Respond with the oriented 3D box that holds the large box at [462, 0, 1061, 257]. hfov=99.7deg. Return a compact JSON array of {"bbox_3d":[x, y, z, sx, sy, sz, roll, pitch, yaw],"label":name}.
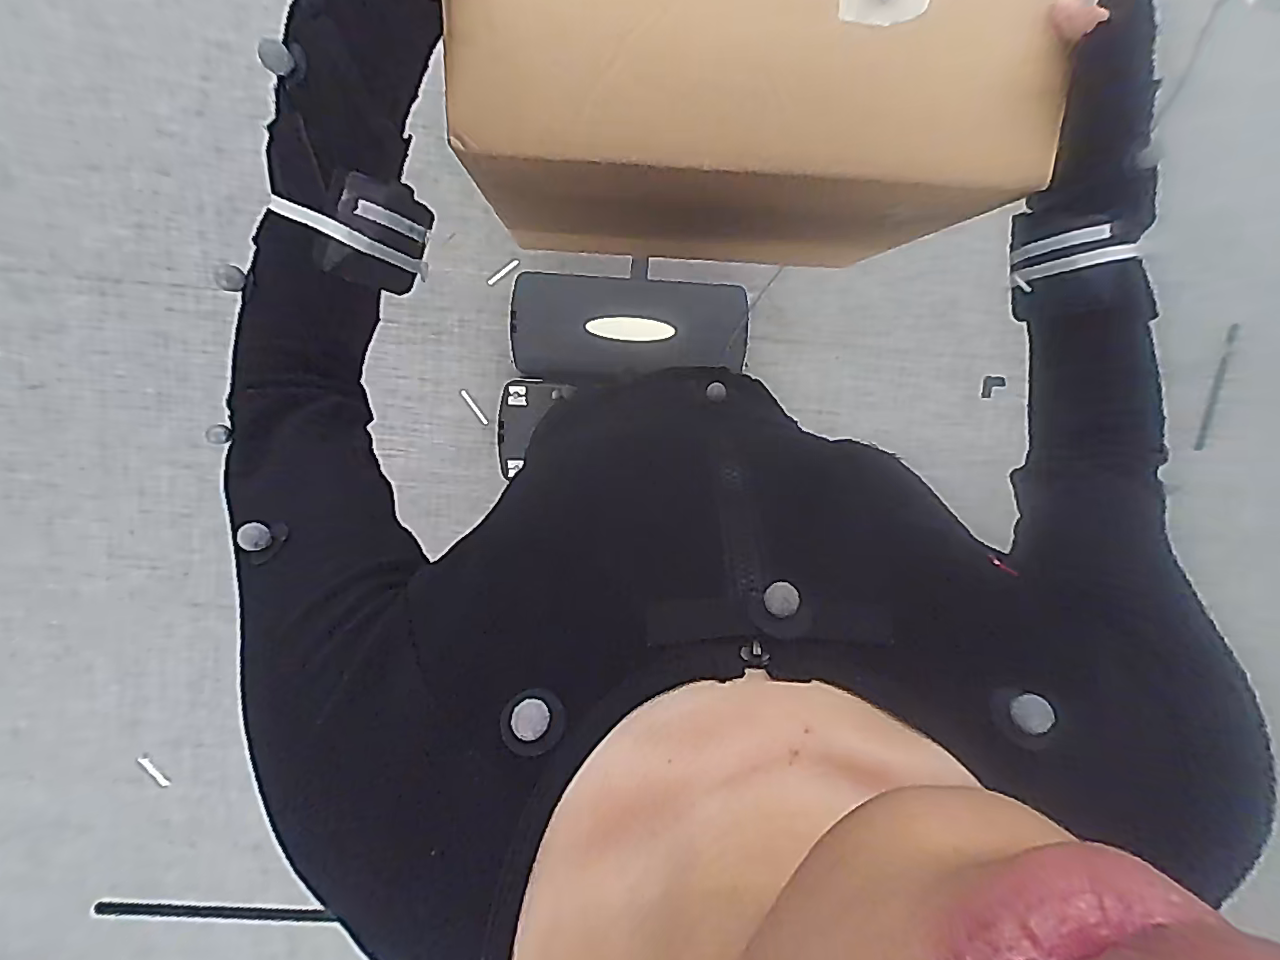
[{"bbox_3d":[0.072,-0.395,0.484,0.408,0.320,0.320,0,103,-5],"label":"large box"}]
